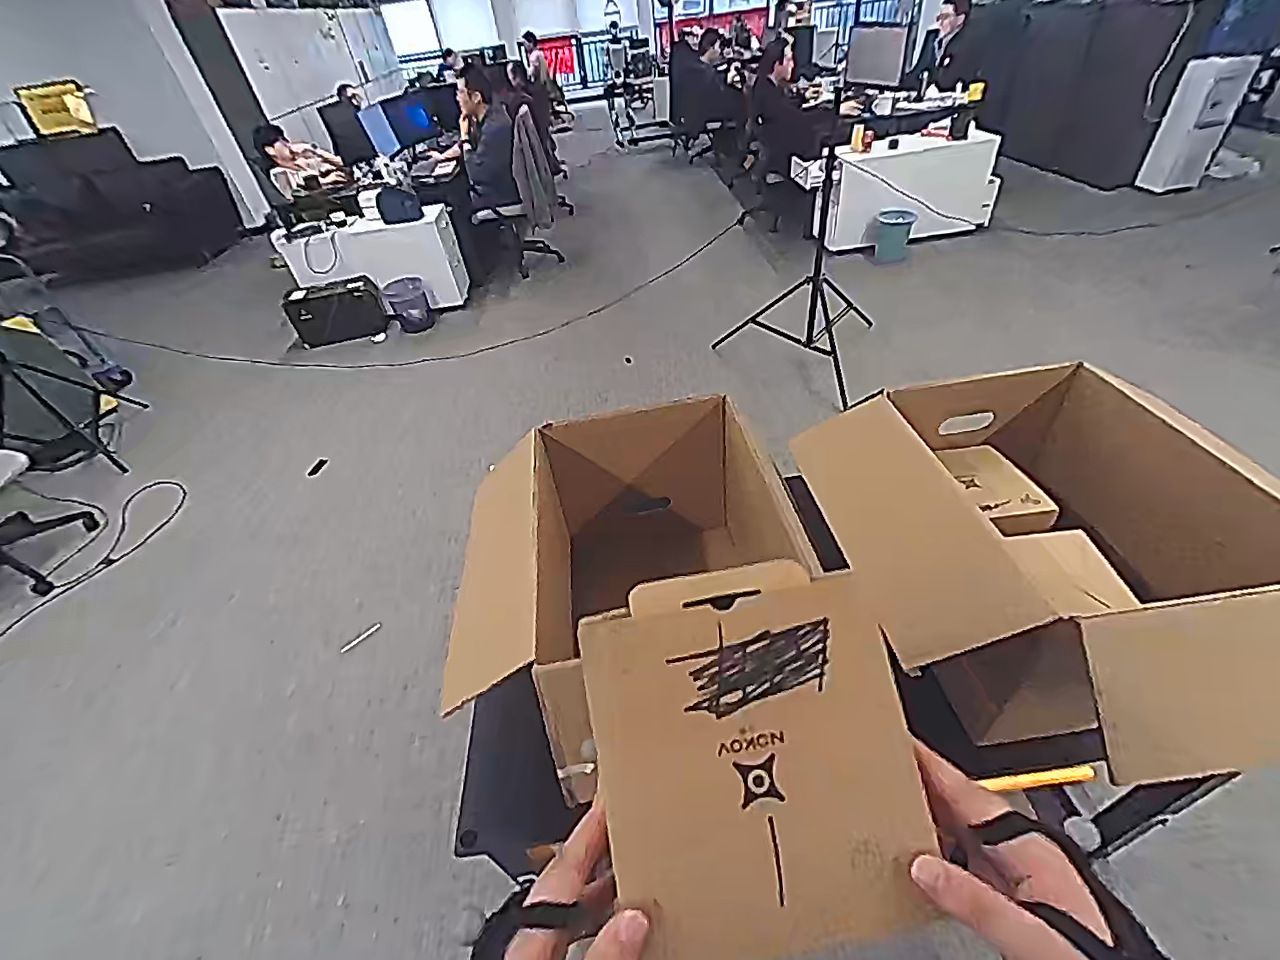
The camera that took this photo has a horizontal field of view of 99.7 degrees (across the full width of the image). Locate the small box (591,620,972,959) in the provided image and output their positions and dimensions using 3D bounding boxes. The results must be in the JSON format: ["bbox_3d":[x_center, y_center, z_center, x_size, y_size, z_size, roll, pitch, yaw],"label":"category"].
[{"bbox_3d":[0.064,0.190,0.345,0.168,0.176,0.179,-10,79,-3],"label":"small box"}]
